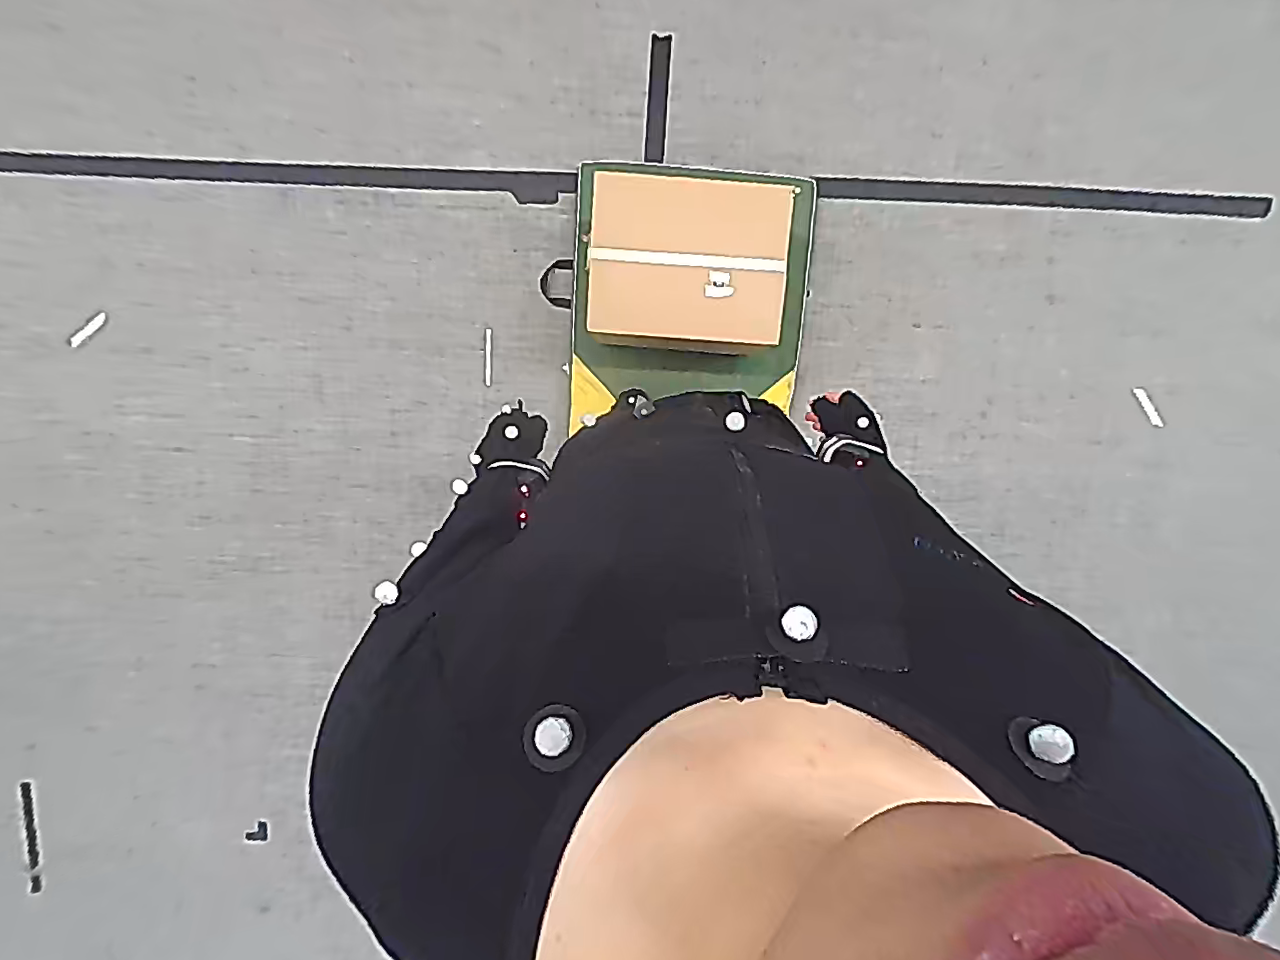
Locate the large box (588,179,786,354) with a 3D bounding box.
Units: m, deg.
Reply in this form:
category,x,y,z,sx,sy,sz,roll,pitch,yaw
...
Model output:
category,x,y,z,sx,sy,sz,roll,pitch,yaw
large box,0.089,-0.471,1.265,0.408,0.320,0.320,3,99,-2
